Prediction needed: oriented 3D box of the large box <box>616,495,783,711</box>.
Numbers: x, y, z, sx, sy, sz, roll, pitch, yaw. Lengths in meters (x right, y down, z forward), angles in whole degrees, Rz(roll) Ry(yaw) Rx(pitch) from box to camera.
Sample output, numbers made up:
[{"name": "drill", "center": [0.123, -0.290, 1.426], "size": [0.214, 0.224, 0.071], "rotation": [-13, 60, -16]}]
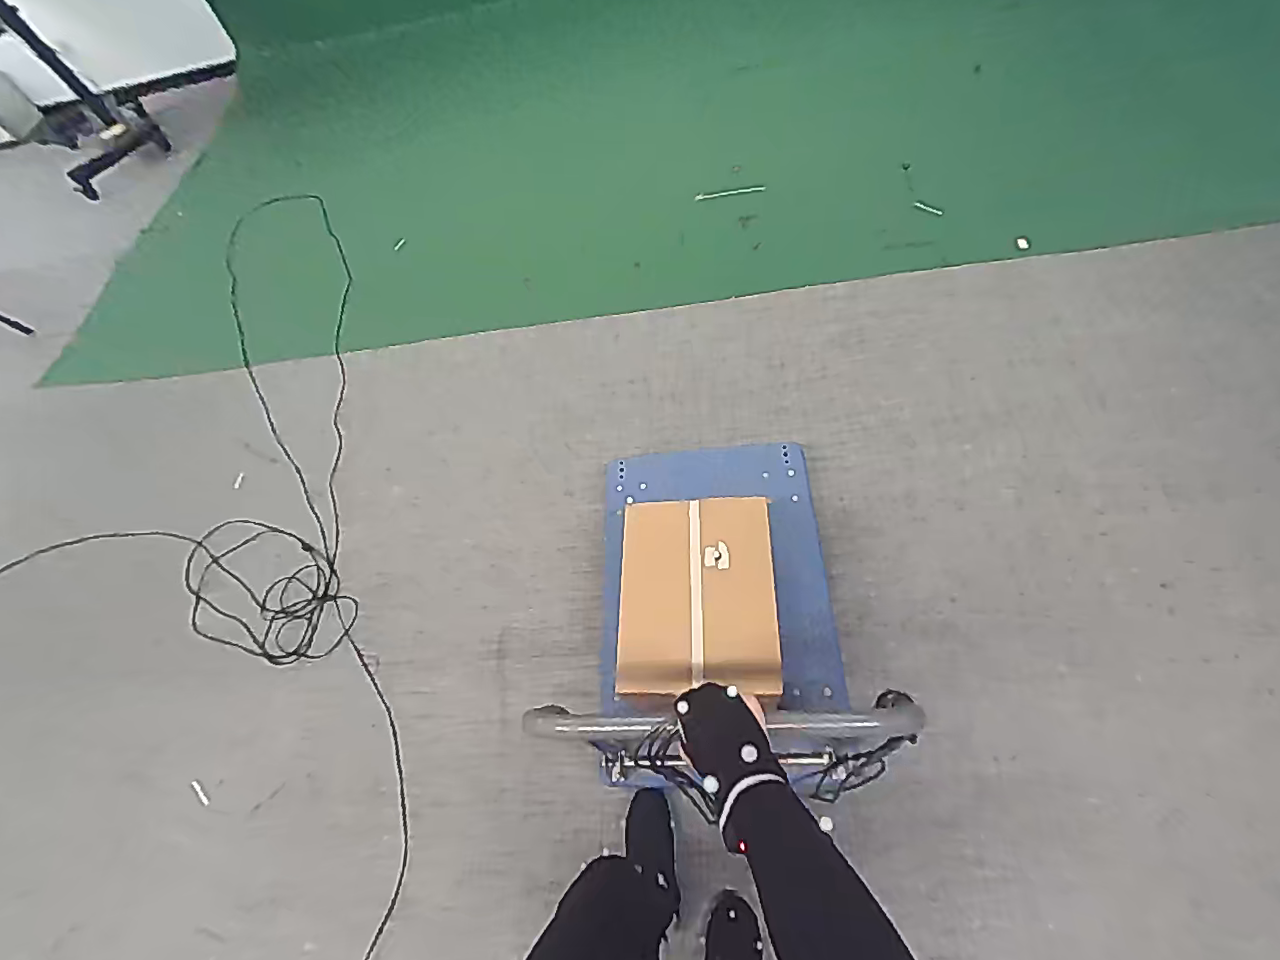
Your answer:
[{"name": "large box", "center": [0.136, 0.288, 1.215], "size": [0.320, 0.320, 0.408], "rotation": [-2, 60, 9]}]
